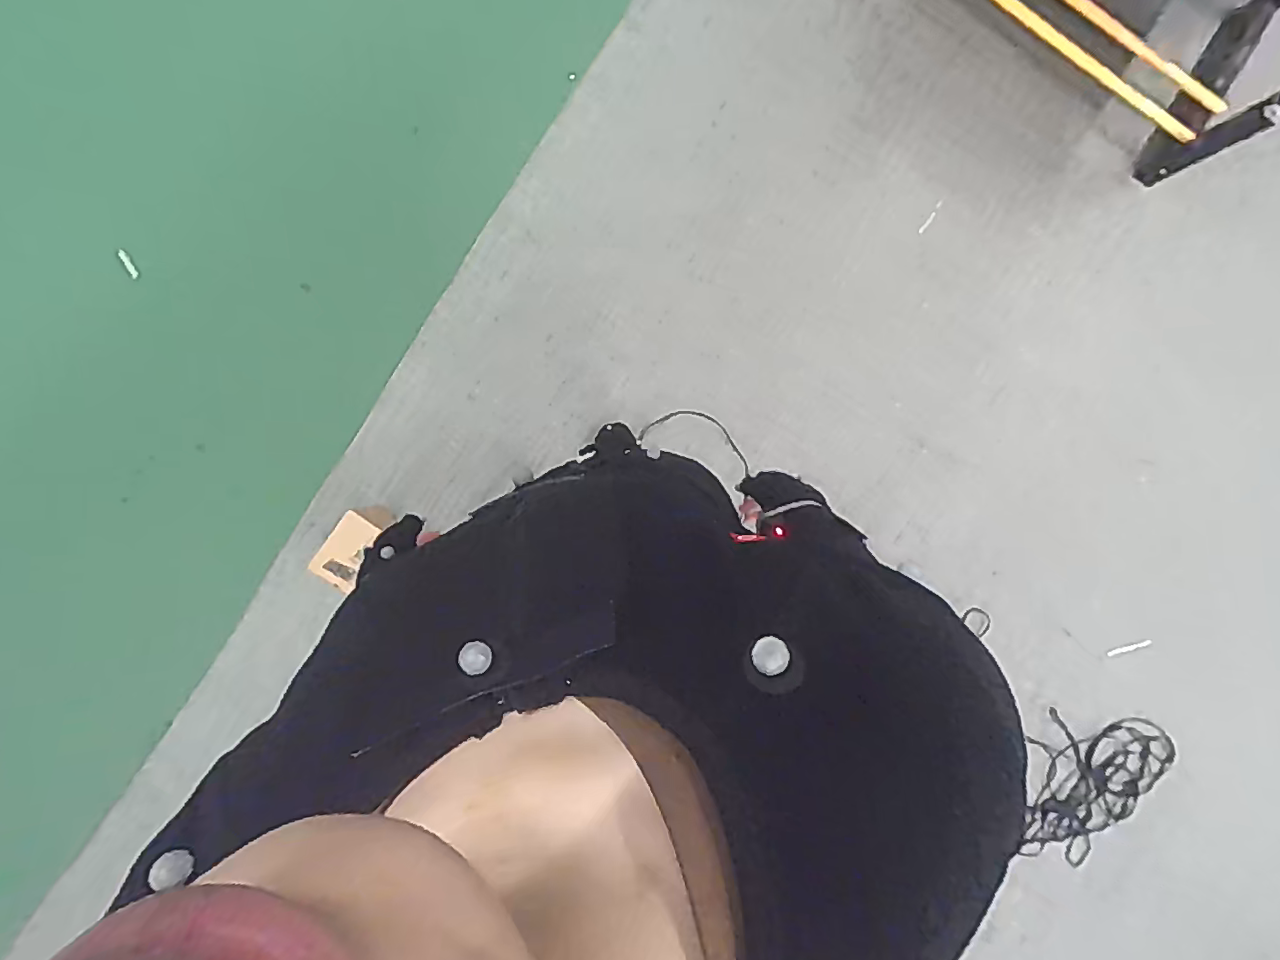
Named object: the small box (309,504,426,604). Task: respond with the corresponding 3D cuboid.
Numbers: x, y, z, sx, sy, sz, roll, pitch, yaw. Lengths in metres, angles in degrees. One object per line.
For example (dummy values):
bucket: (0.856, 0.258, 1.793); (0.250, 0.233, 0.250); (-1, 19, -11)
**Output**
small box: (-0.671, 0.178, 1.358); (0.168, 0.176, 0.179); (36, 88, -5)
